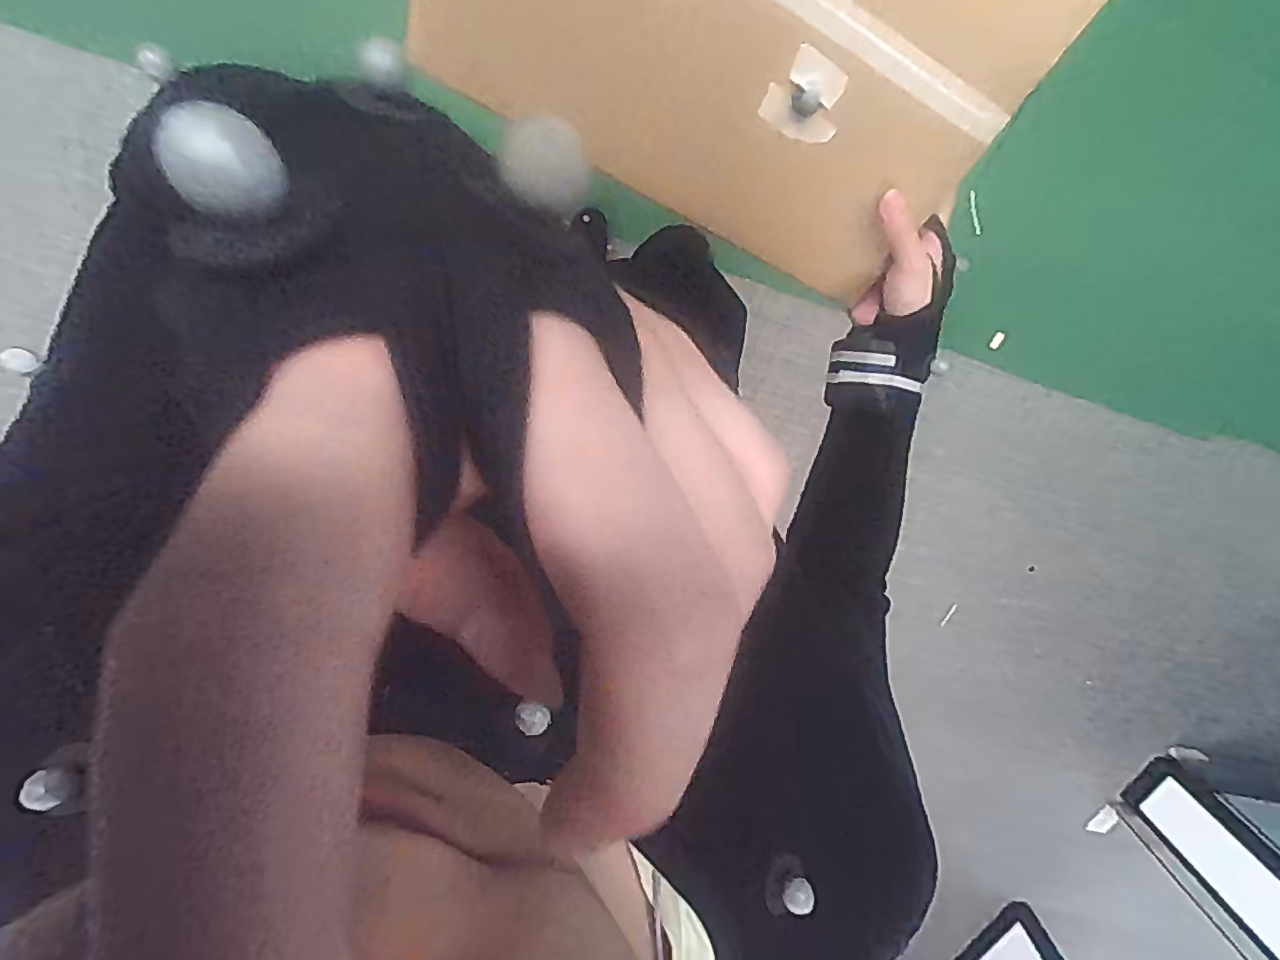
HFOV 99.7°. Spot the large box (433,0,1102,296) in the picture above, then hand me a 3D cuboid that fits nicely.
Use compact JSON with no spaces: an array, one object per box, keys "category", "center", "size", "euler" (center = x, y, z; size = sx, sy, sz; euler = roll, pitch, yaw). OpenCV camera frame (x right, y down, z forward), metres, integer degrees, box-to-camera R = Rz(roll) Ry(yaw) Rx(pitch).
[{"category":"large box","center":[0.094,-0.433,0.456],"size":[0.408,0.320,0.320],"euler":[21,134,-15]}]
